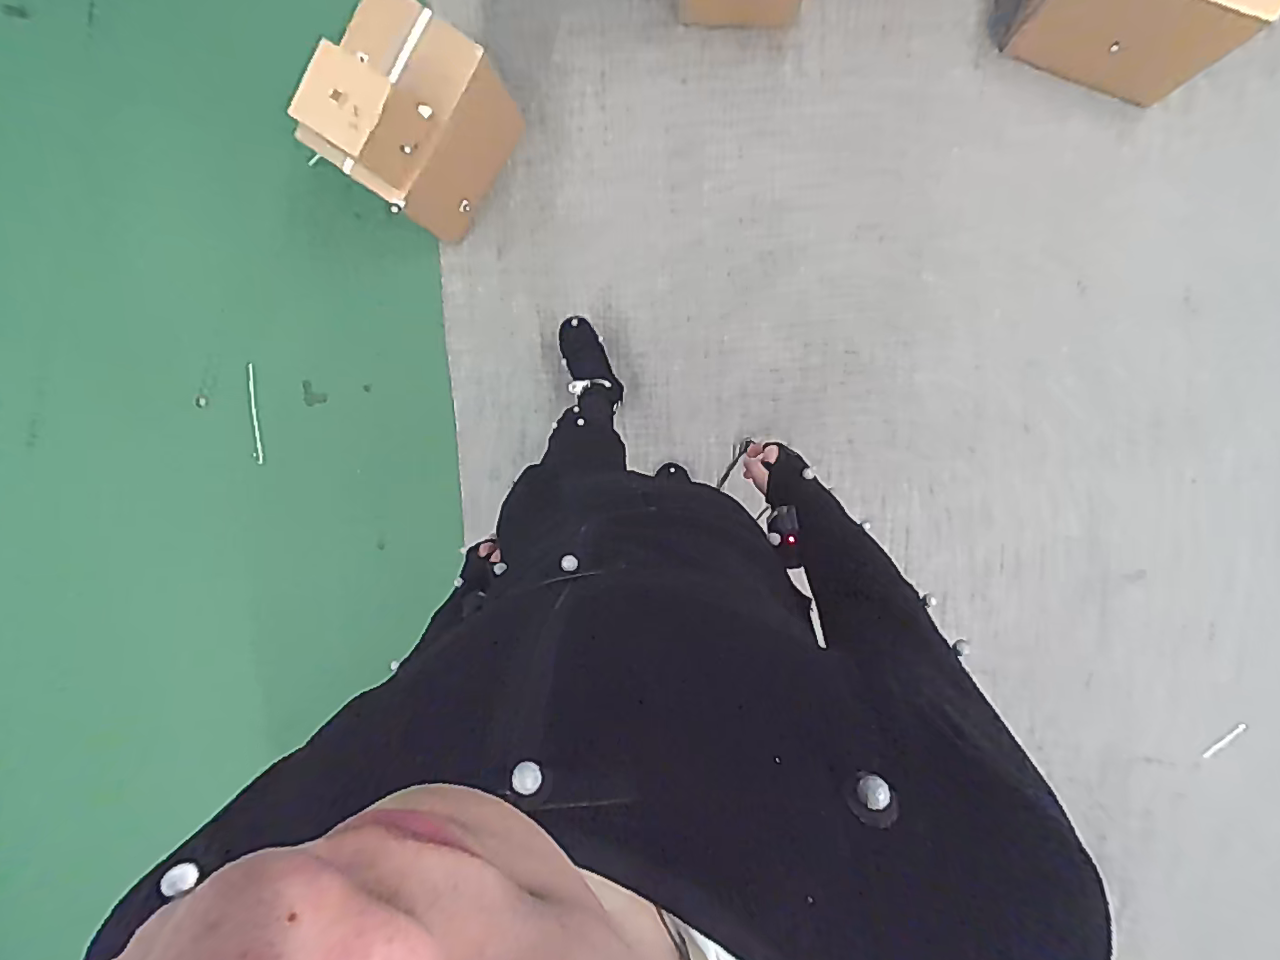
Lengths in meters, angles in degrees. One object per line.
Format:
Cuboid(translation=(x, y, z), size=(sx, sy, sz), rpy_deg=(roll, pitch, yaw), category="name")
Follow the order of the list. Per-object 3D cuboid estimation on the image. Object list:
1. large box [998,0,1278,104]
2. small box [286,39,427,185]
Cuboid(translation=(1.139, -1.138, 1.214), size=(0.408, 0.320, 0.320), rpy_deg=(22, 98, 3), category="large box")
Cuboid(translation=(-0.602, -0.778, 1.167), size=(0.179, 0.176, 0.168), rpy_deg=(33, 99, -1), category="small box")
